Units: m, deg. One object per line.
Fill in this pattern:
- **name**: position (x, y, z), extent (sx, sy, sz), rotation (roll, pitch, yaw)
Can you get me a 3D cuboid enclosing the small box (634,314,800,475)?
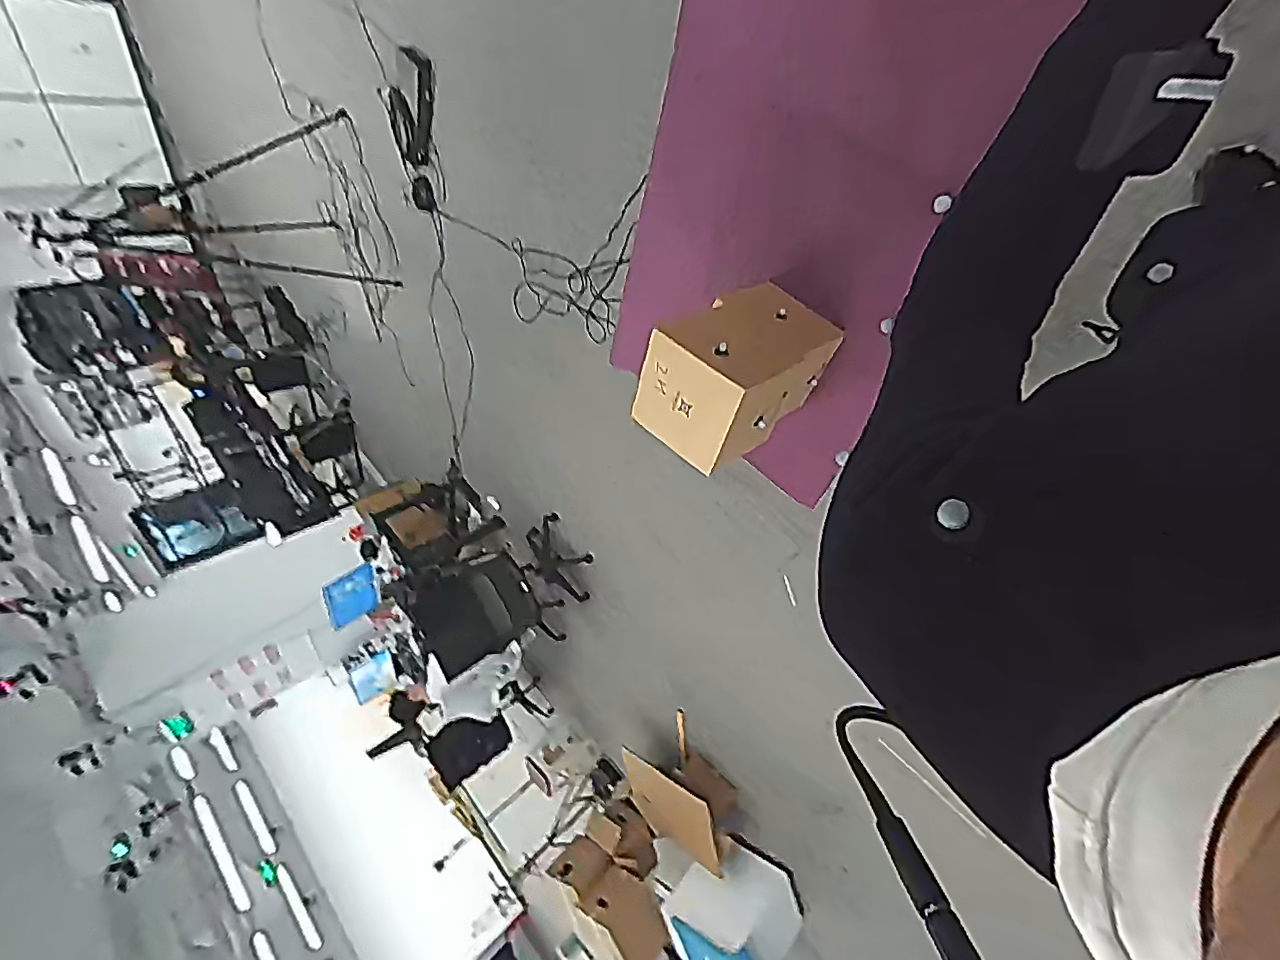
- **small box**: position (0.121, -0.145, 0.859), extent (0.179, 0.176, 0.168), rotation (41, 137, 23)
